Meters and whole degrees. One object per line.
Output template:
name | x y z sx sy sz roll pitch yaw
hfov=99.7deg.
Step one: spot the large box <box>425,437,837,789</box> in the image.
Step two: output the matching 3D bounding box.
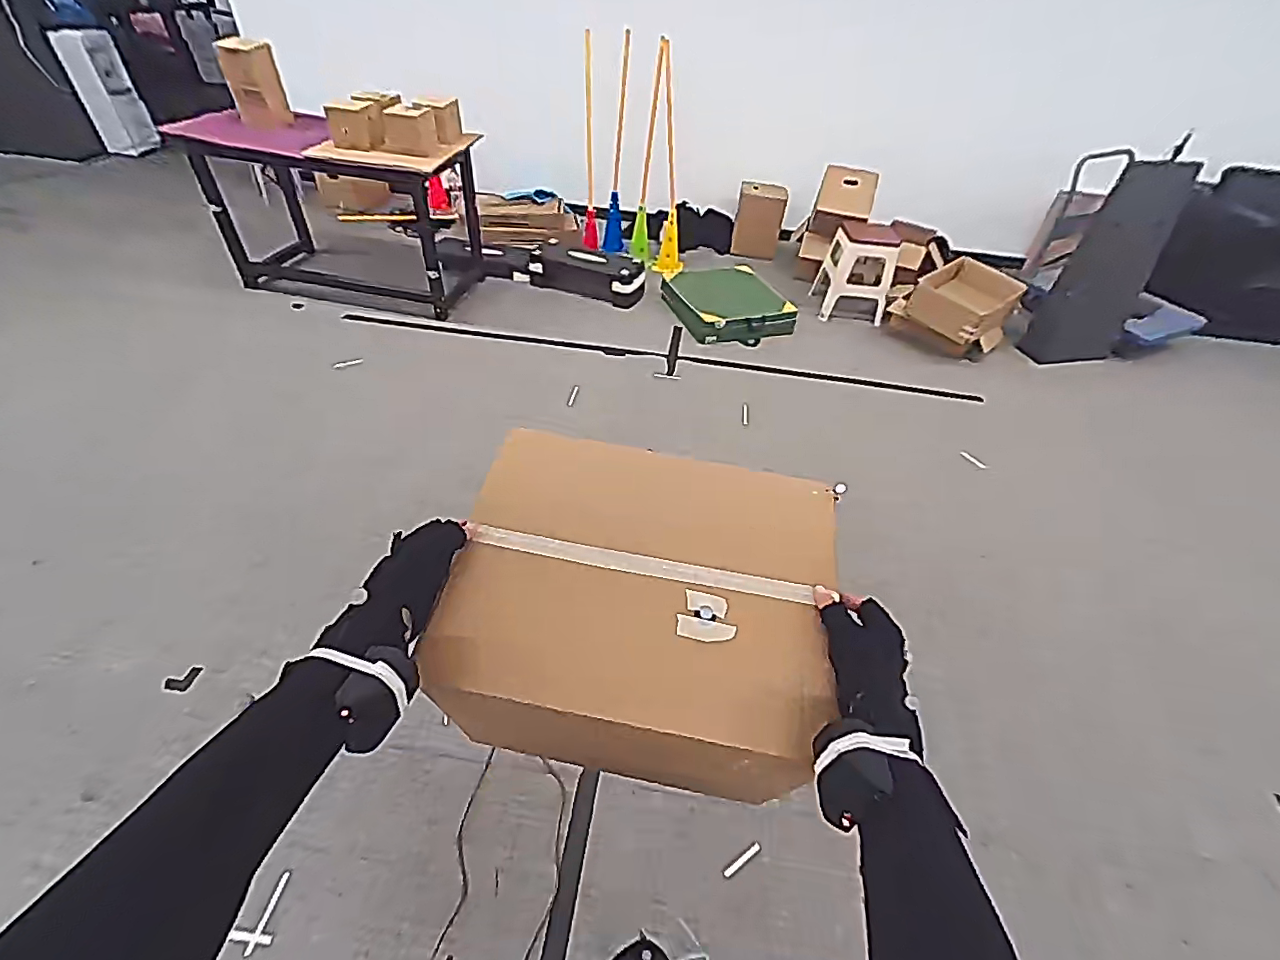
large box | -0.001 0.183 0.713 0.408 0.320 0.320 10 55 3
